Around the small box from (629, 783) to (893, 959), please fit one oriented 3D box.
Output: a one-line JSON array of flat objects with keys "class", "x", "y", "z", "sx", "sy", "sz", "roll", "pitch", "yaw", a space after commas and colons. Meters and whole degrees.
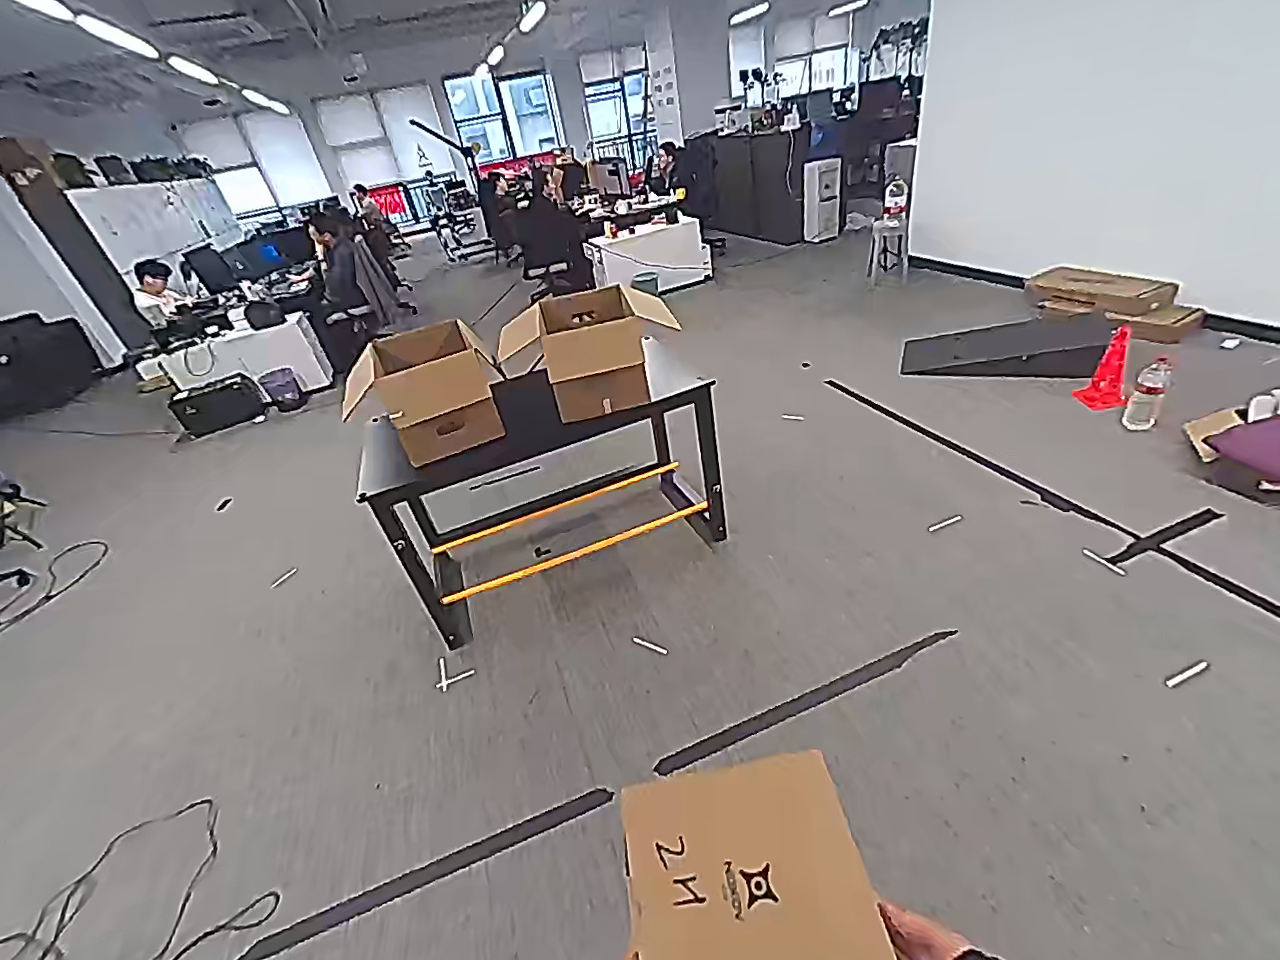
[{"class": "small box", "x": 0.095, "y": 0.379, "z": 0.452, "sx": 0.179, "sy": 0.176, "sz": 0.168, "roll": -11, "pitch": 44, "yaw": 0}]
